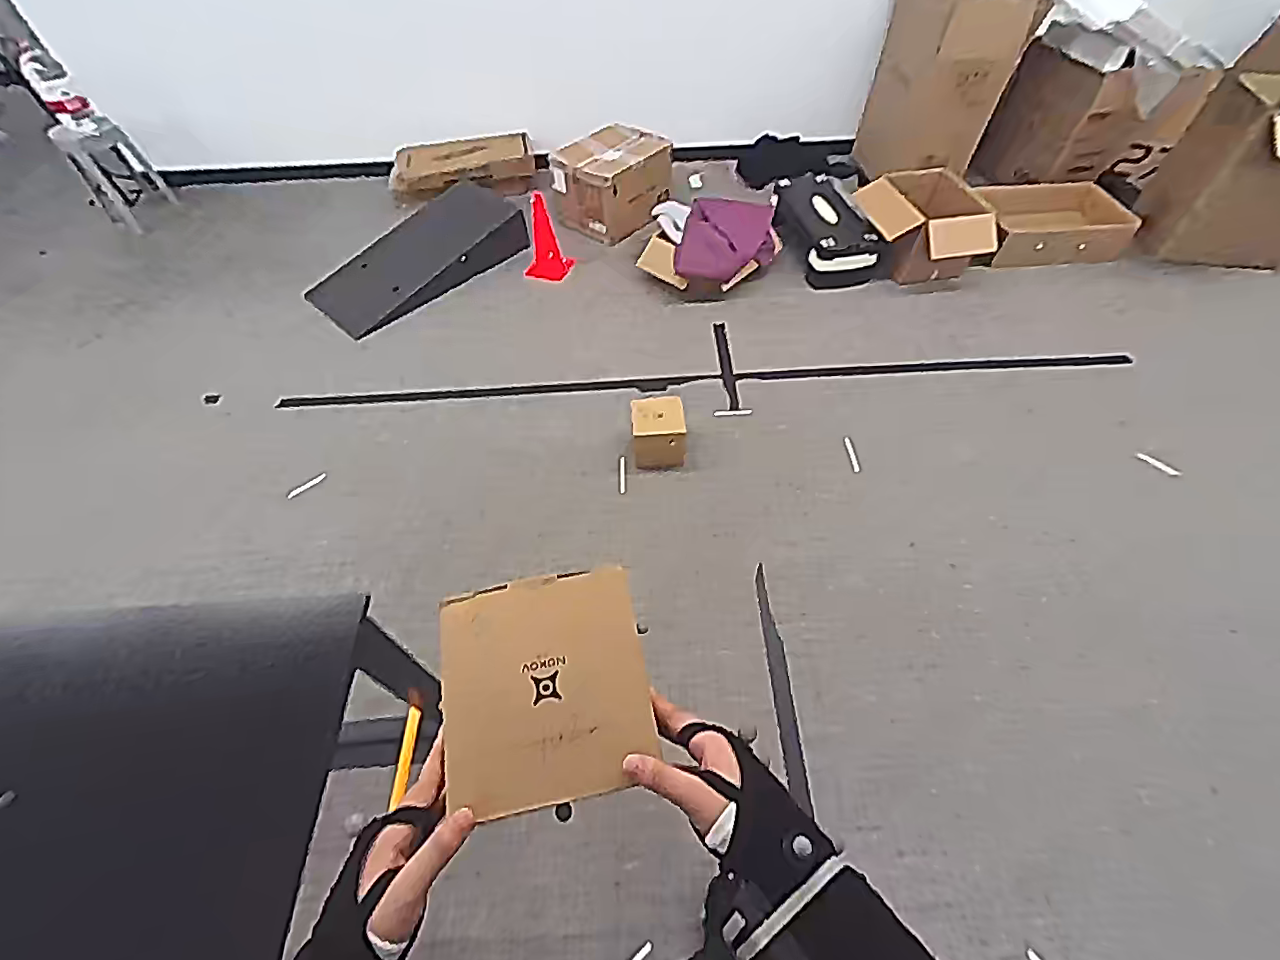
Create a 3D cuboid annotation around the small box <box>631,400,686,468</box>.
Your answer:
[{"bbox_3d":[0.061,-0.155,1.856,0.179,0.176,0.168,-4,53,-1],"label":"small box"}]

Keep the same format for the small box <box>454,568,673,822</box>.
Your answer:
[{"bbox_3d":[-0.071,0.204,0.516,0.168,0.176,0.179,-10,63,-6],"label":"small box"}]
